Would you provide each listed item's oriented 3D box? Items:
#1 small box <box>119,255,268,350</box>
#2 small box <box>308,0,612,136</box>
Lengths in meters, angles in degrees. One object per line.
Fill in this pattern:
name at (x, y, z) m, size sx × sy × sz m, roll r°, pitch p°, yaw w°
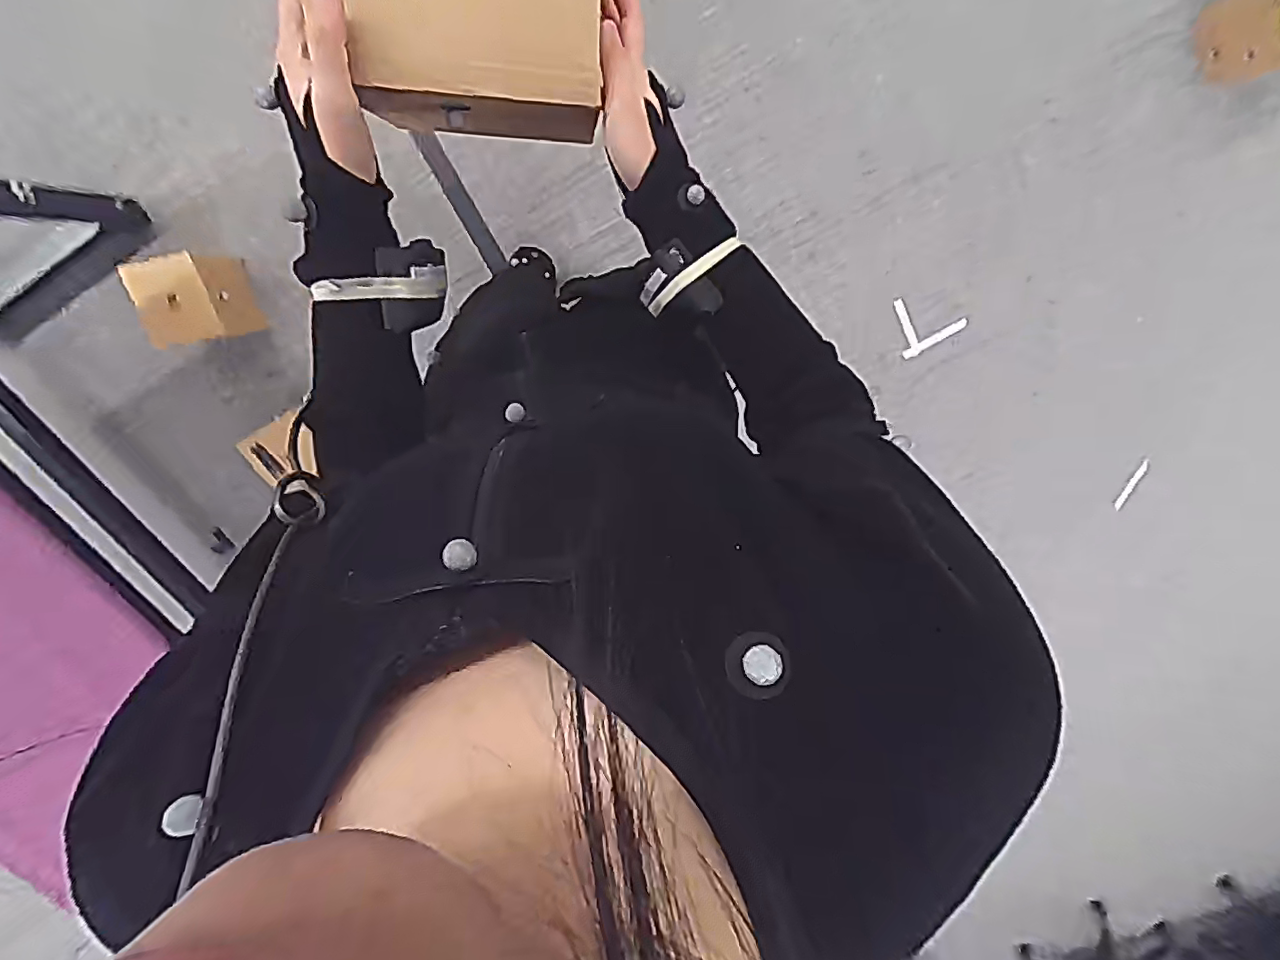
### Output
small box at (-1.023, -0.414, 1.256) m, size 0.168 × 0.176 × 0.179 m, roll -12°, pitch 113°, yaw 2°
small box at (-0.108, -0.351, 0.372) m, size 0.179 × 0.176 × 0.168 m, roll 1°, pitch 115°, yaw -8°
